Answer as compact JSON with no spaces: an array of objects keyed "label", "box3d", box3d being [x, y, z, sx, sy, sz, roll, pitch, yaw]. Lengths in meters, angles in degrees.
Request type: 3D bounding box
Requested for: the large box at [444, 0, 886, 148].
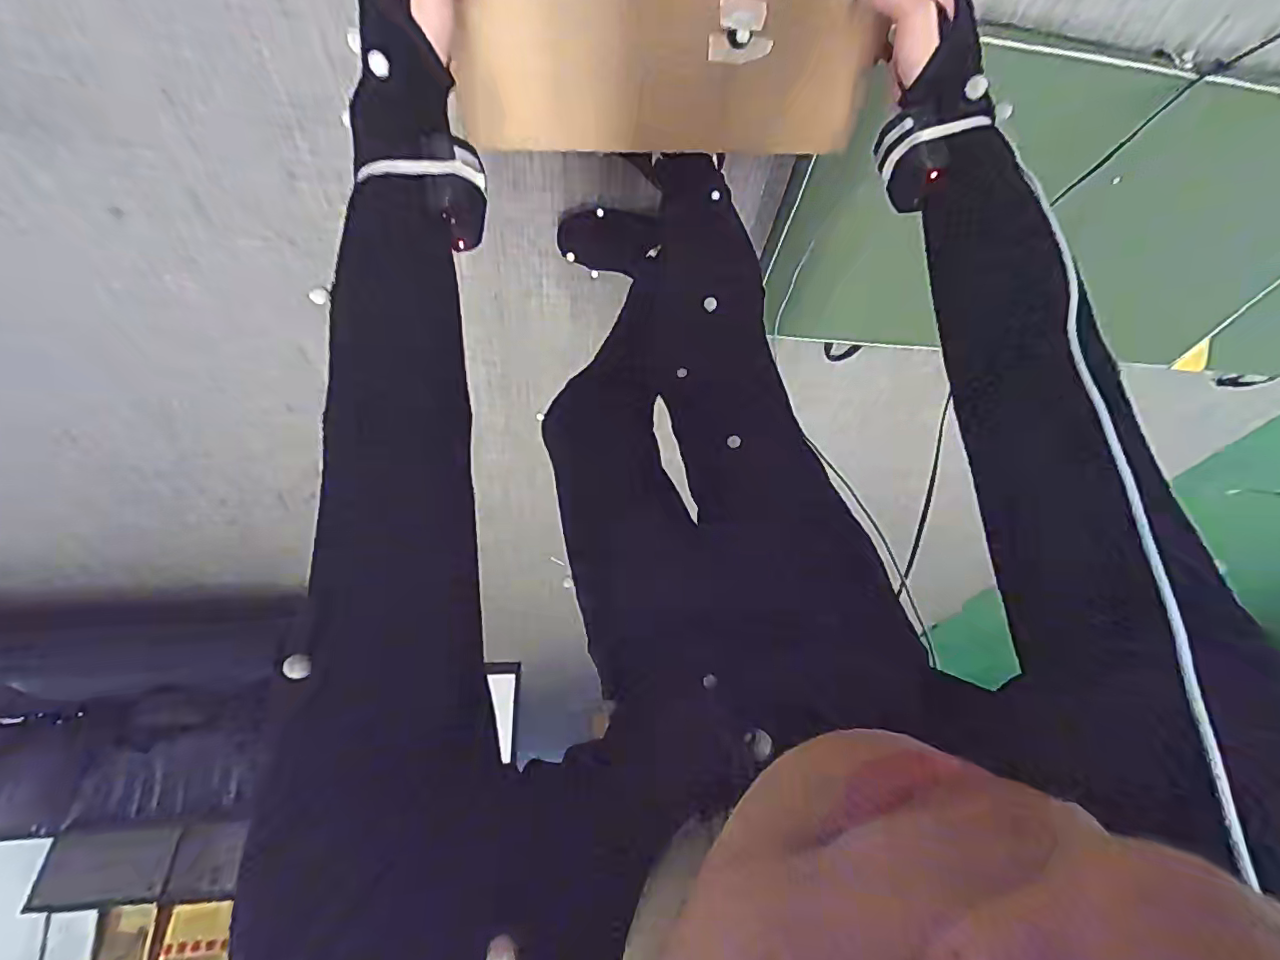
[{"label":"large box","box3d":[0.017,-0.567,0.531,0.408,0.320,0.320,-2,150,-4]}]
